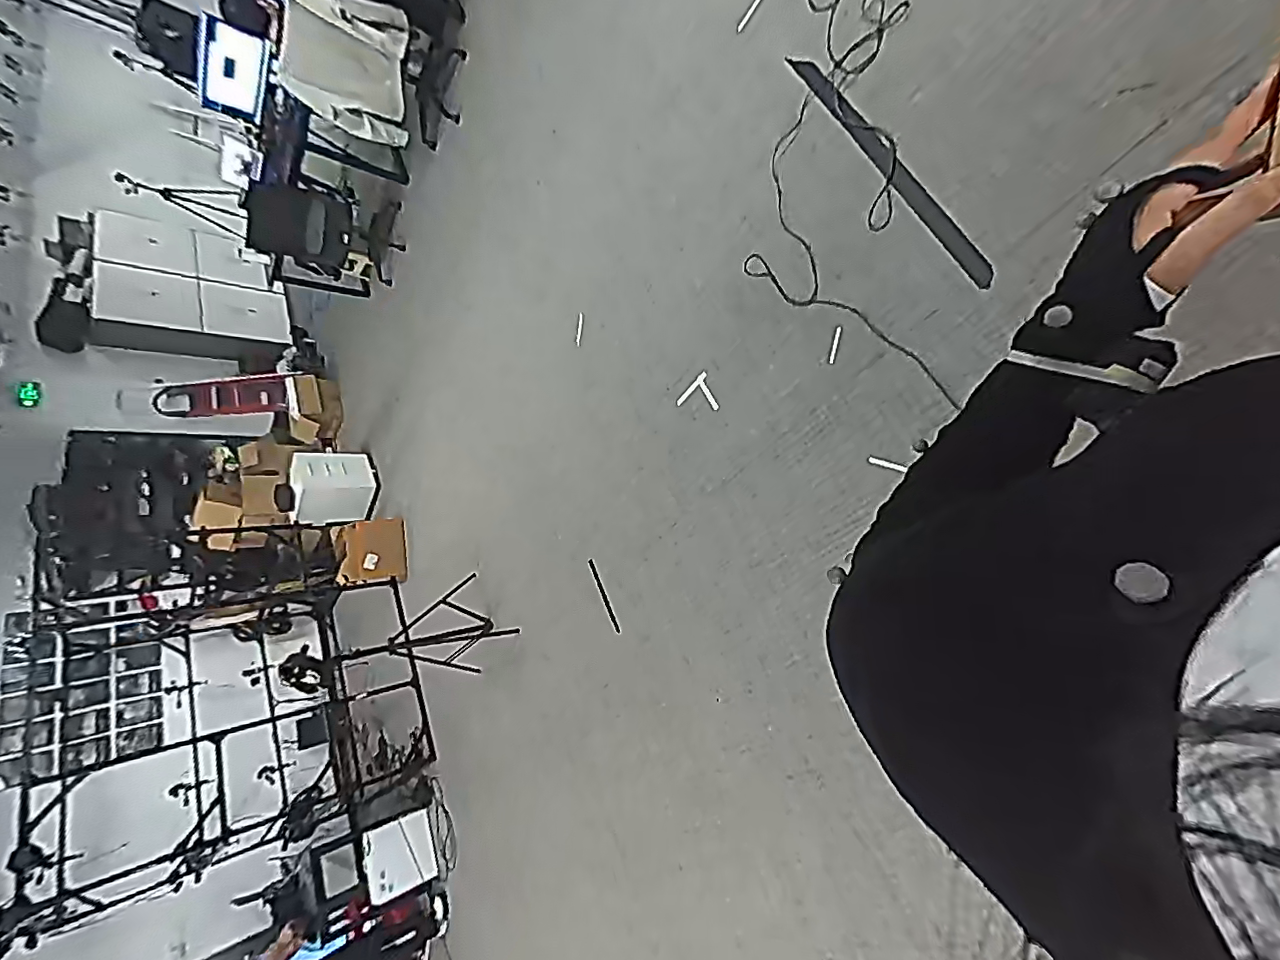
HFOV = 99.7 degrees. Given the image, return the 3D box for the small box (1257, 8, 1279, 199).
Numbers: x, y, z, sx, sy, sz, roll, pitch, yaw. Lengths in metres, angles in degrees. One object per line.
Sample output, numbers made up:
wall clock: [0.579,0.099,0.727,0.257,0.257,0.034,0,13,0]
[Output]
small box: [0.472,-0.269,0.295,0.168,0.176,0.179,7,106,46]
